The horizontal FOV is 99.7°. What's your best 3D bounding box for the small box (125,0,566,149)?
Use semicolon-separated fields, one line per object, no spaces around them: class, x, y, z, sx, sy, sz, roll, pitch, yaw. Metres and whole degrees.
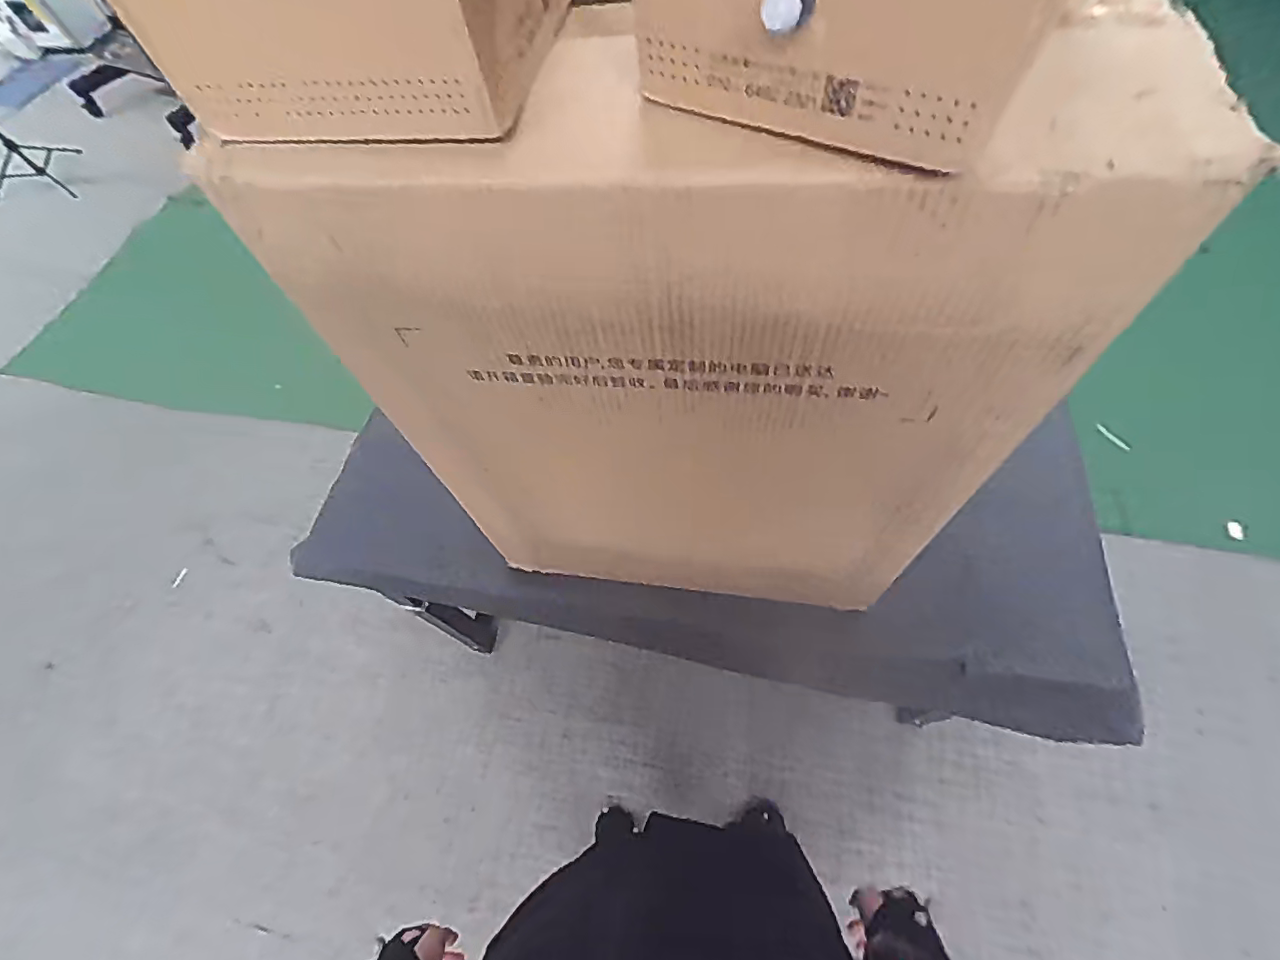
small box;-0.153;-0.289;0.265;0.179;0.176;0.168;5;63;10
